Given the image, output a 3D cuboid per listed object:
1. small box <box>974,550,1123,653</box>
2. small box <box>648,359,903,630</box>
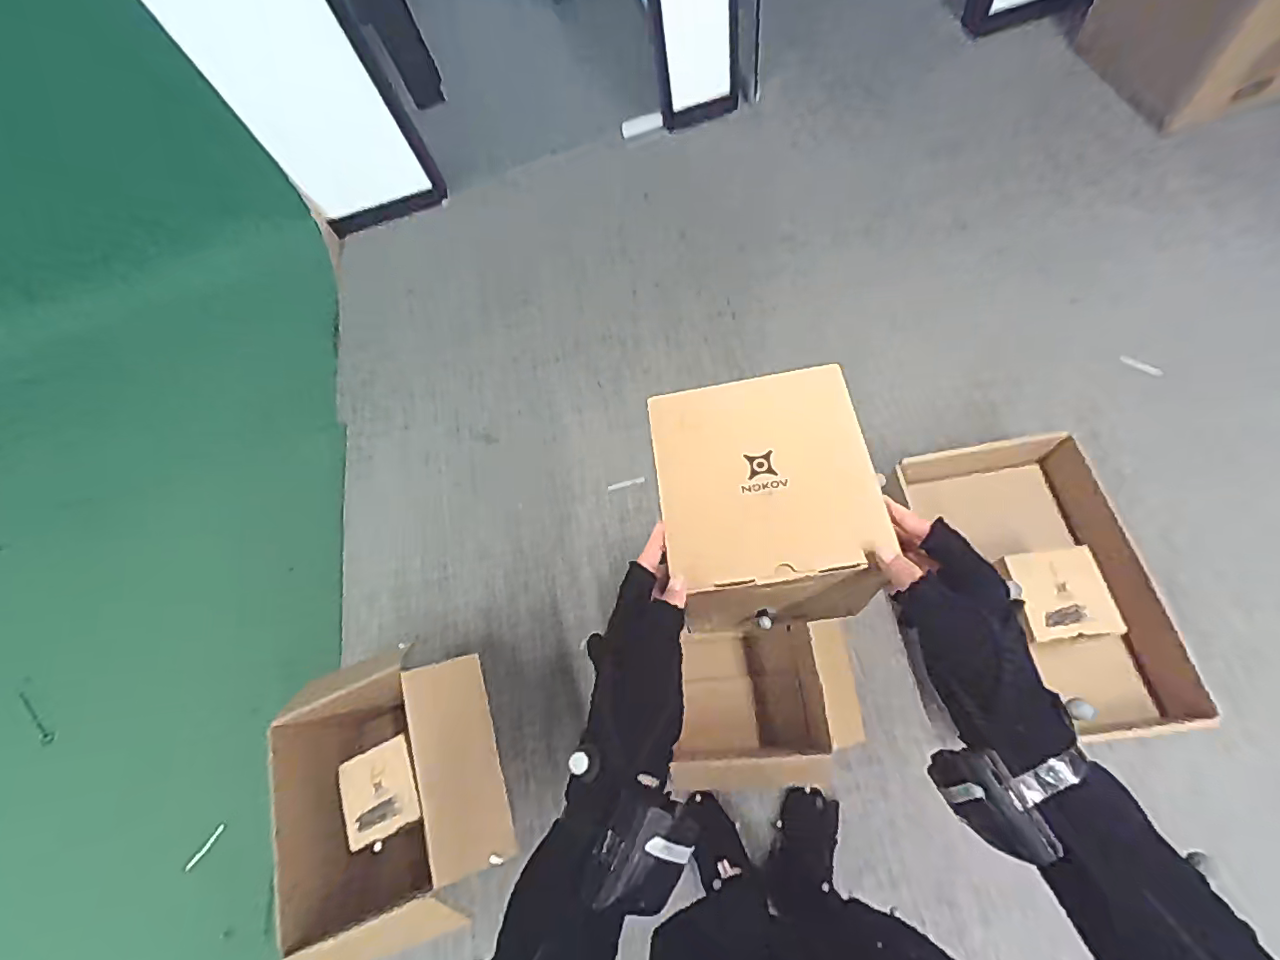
[{"bbox_3d":[0.847,0.263,1.142,0.168,0.176,0.179,-8,63,6],"label":"small box"},{"bbox_3d":[0.107,0.024,0.488,0.168,0.176,0.179,-10,63,7],"label":"small box"}]
